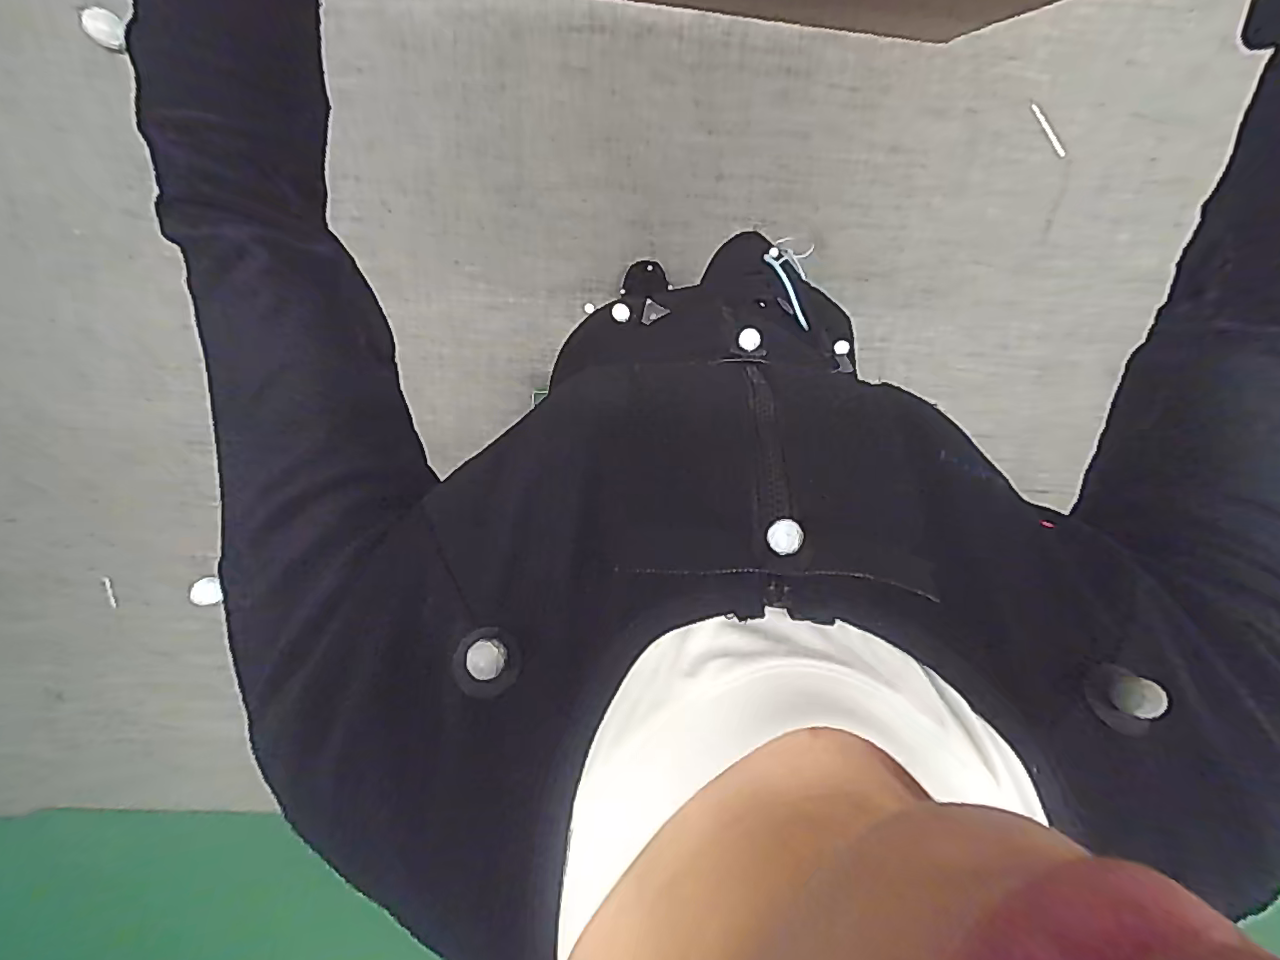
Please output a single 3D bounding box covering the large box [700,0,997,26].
[{"bbox_3d":[0.105,-0.490,0.292,0.408,0.320,0.320,4,121,-4],"label":"large box"}]
